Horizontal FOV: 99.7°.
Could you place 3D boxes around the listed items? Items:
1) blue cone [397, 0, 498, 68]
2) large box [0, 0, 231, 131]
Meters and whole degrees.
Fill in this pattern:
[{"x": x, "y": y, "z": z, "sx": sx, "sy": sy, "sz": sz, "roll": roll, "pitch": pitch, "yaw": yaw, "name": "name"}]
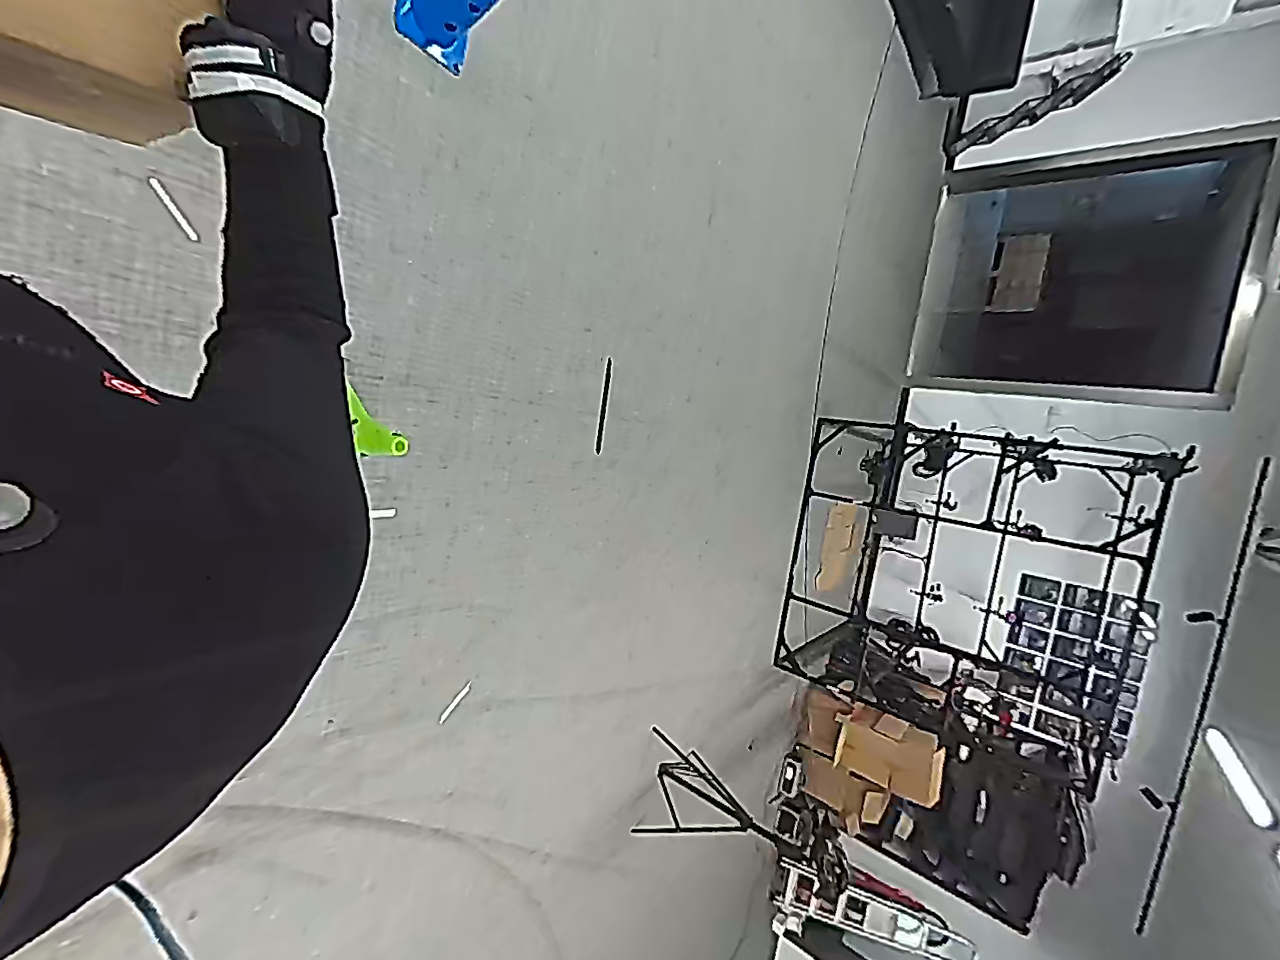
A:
[{"x": -0.418, "y": -1.212, "z": 1.339, "sx": 0.192, "sy": 0.380, "sz": 0.193, "roll": 7, "pitch": 95, "yaw": -54, "name": "blue cone"}, {"x": -0.511, "y": -0.445, "z": 0.287, "sx": 0.408, "sy": 0.320, "sz": 0.320, "roll": -8, "pitch": 113, "yaw": -51, "name": "large box"}]
